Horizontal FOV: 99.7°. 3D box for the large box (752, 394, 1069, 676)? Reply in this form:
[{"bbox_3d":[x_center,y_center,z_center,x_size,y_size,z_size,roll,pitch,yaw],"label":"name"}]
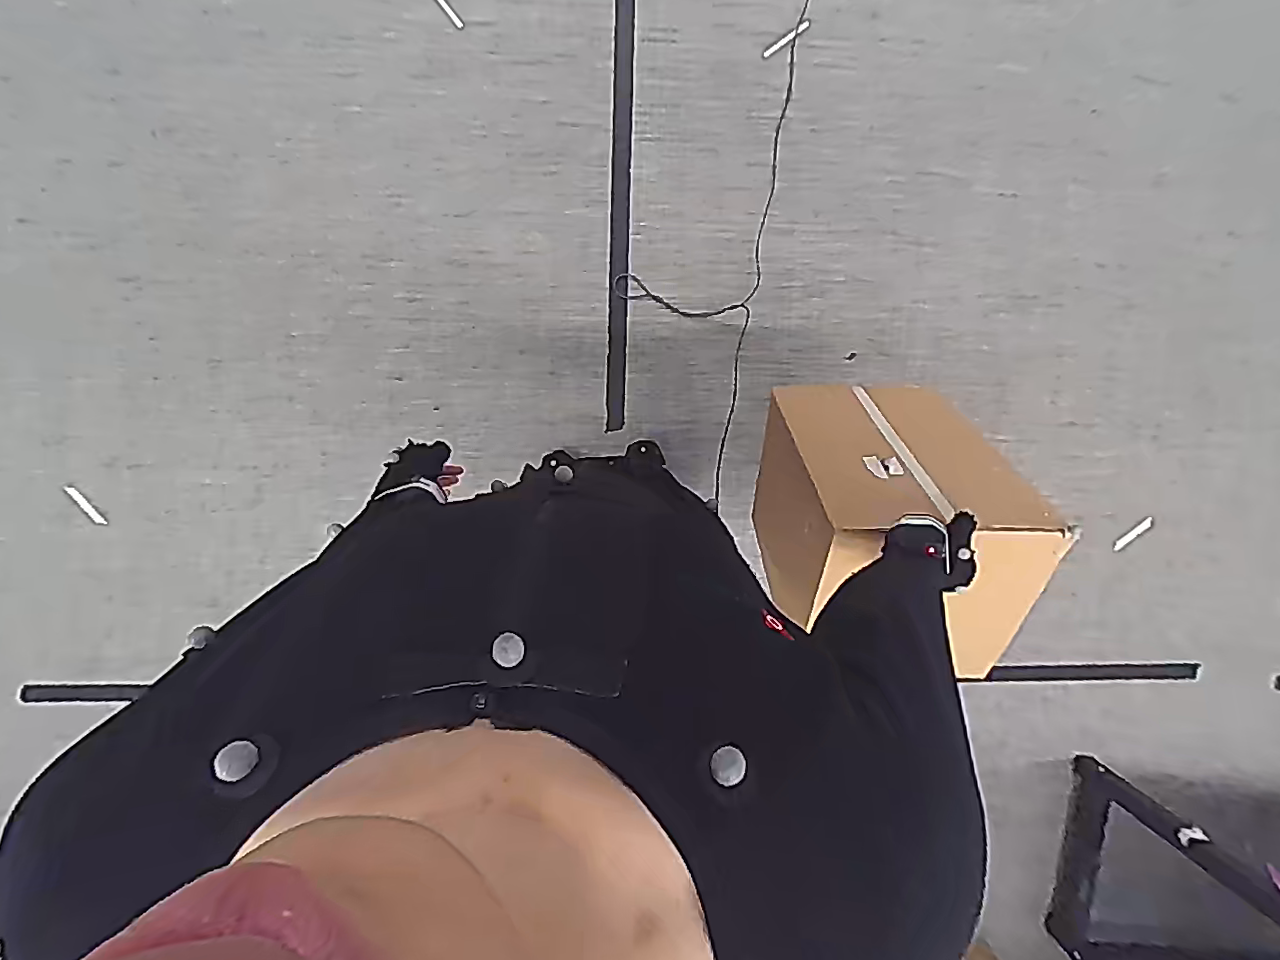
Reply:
[{"bbox_3d":[0.404,0.081,0.951,0.320,0.408,0.320,0,127,-1],"label":"large box"}]
